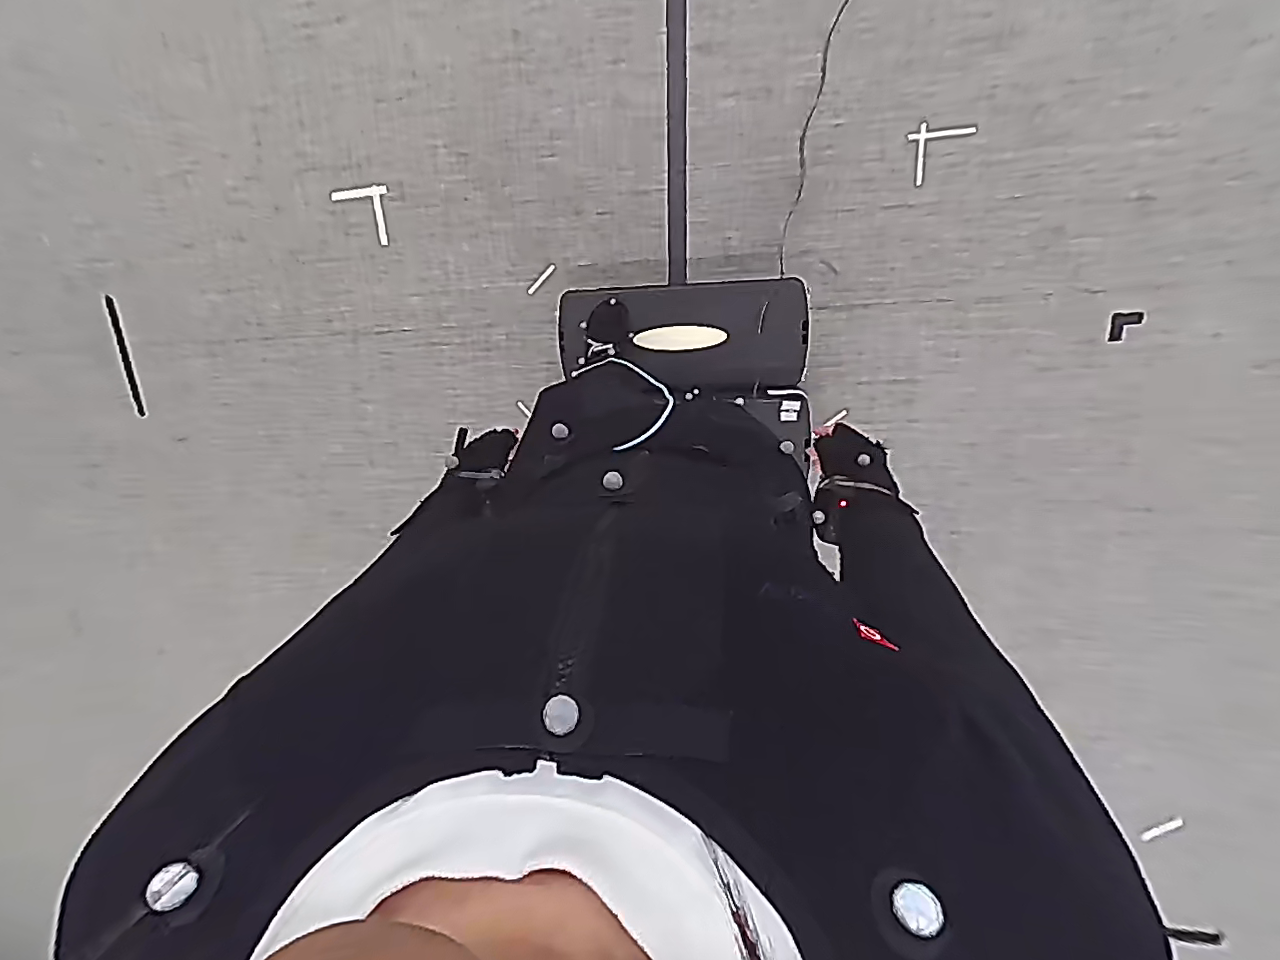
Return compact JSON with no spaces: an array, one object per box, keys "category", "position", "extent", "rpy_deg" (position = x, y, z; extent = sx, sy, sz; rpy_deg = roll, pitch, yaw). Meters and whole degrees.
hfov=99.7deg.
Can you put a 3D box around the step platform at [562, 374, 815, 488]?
[{"category":"step platform","position":[0.128,-0.133,1.498],"extent":[0.684,0.204,0.286],"rpy_deg":[-1,104,10]}]
